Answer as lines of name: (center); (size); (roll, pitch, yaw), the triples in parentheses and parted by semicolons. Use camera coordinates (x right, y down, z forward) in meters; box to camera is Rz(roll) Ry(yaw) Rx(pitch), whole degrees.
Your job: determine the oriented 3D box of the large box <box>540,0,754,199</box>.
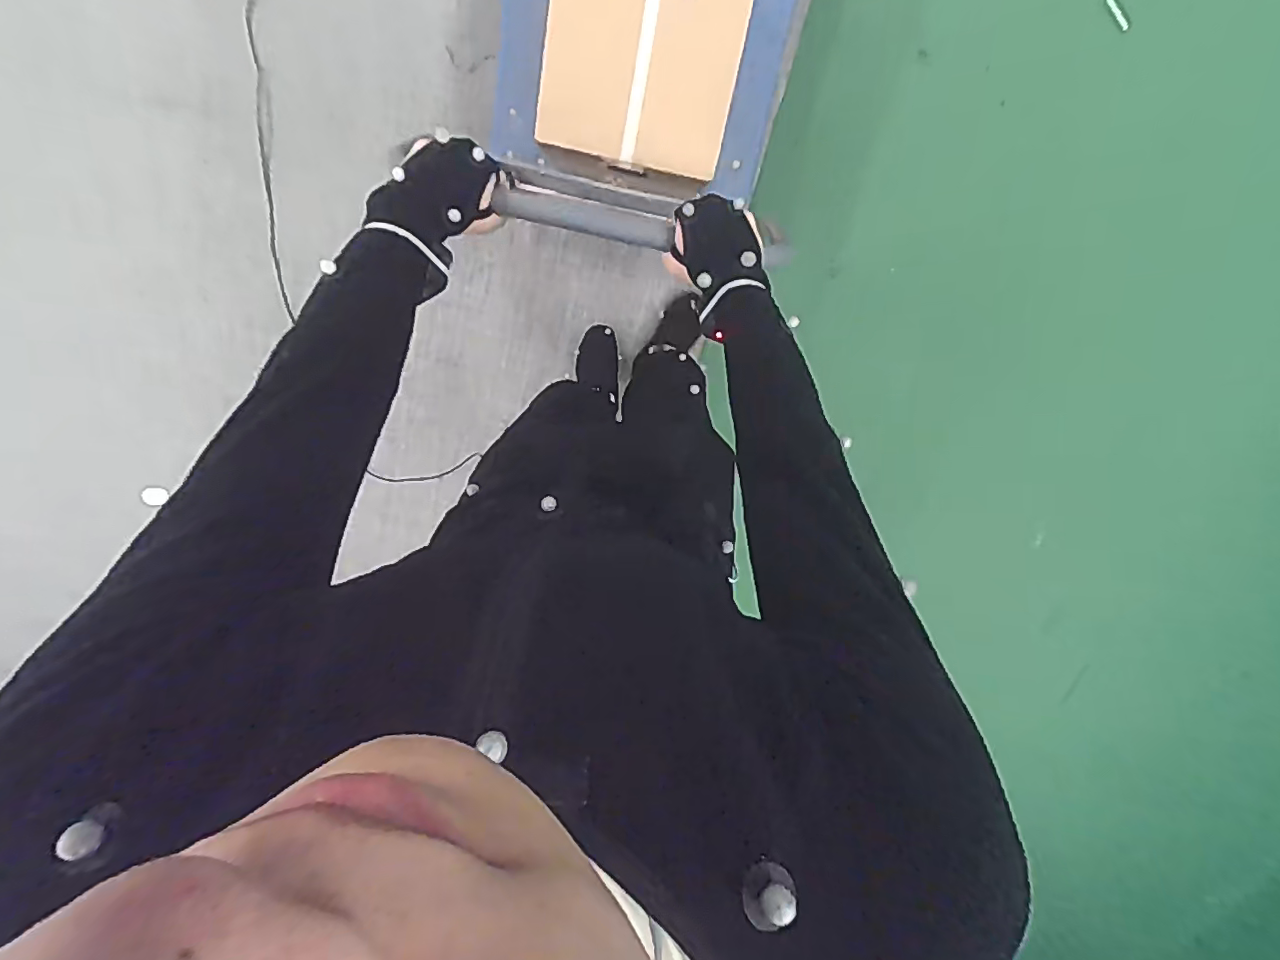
large box: (0.016, -0.779, 0.993); (0.320, 0.320, 0.408); (10, 111, -6)
